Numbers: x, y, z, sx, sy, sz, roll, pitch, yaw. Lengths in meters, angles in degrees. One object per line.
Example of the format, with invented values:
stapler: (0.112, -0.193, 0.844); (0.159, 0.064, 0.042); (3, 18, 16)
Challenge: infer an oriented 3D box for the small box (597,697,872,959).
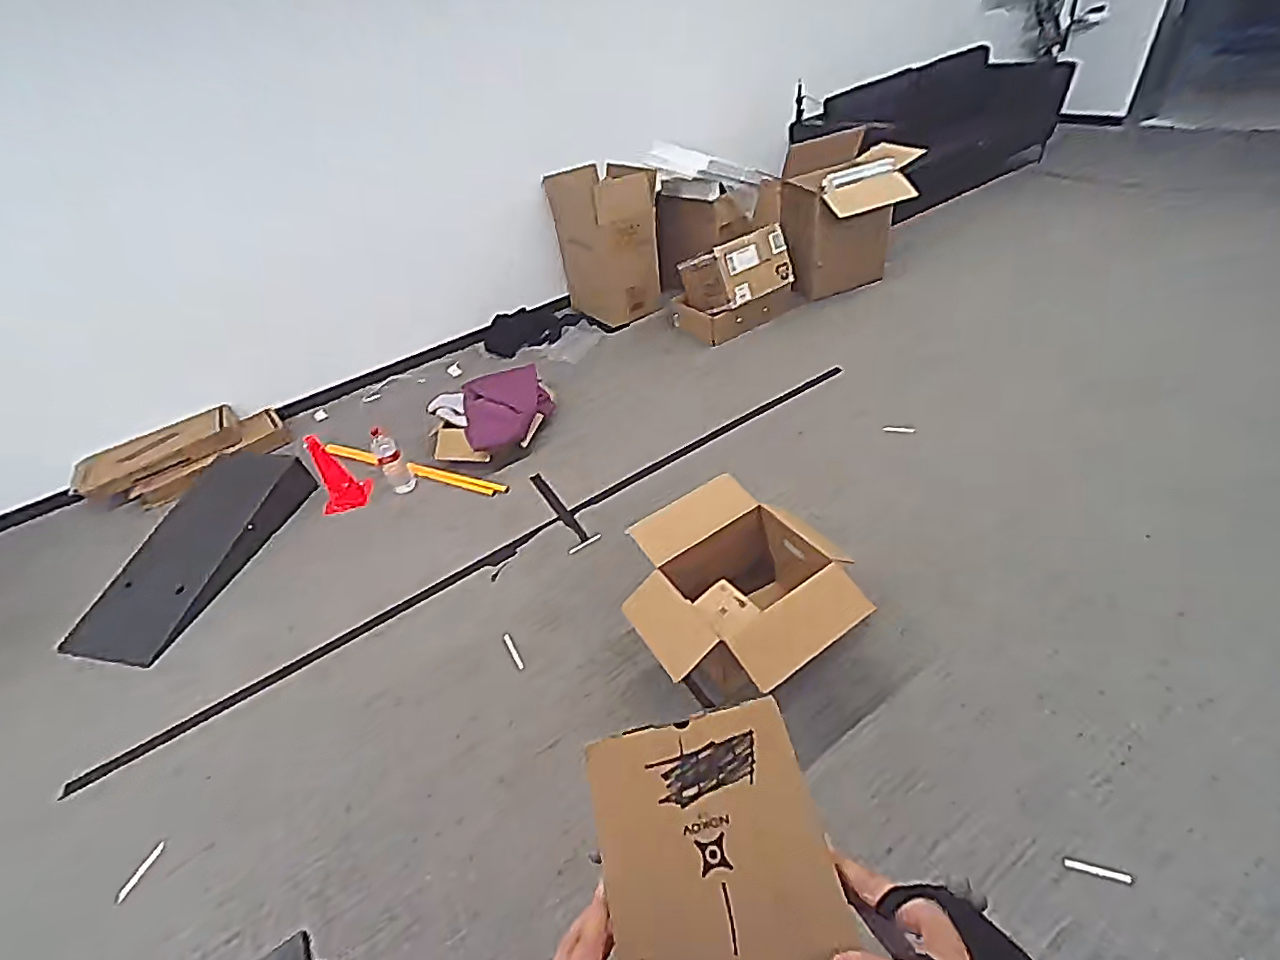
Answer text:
small box: (0.062, 0.314, 0.467); (0.168, 0.176, 0.179); (-12, 54, -5)
